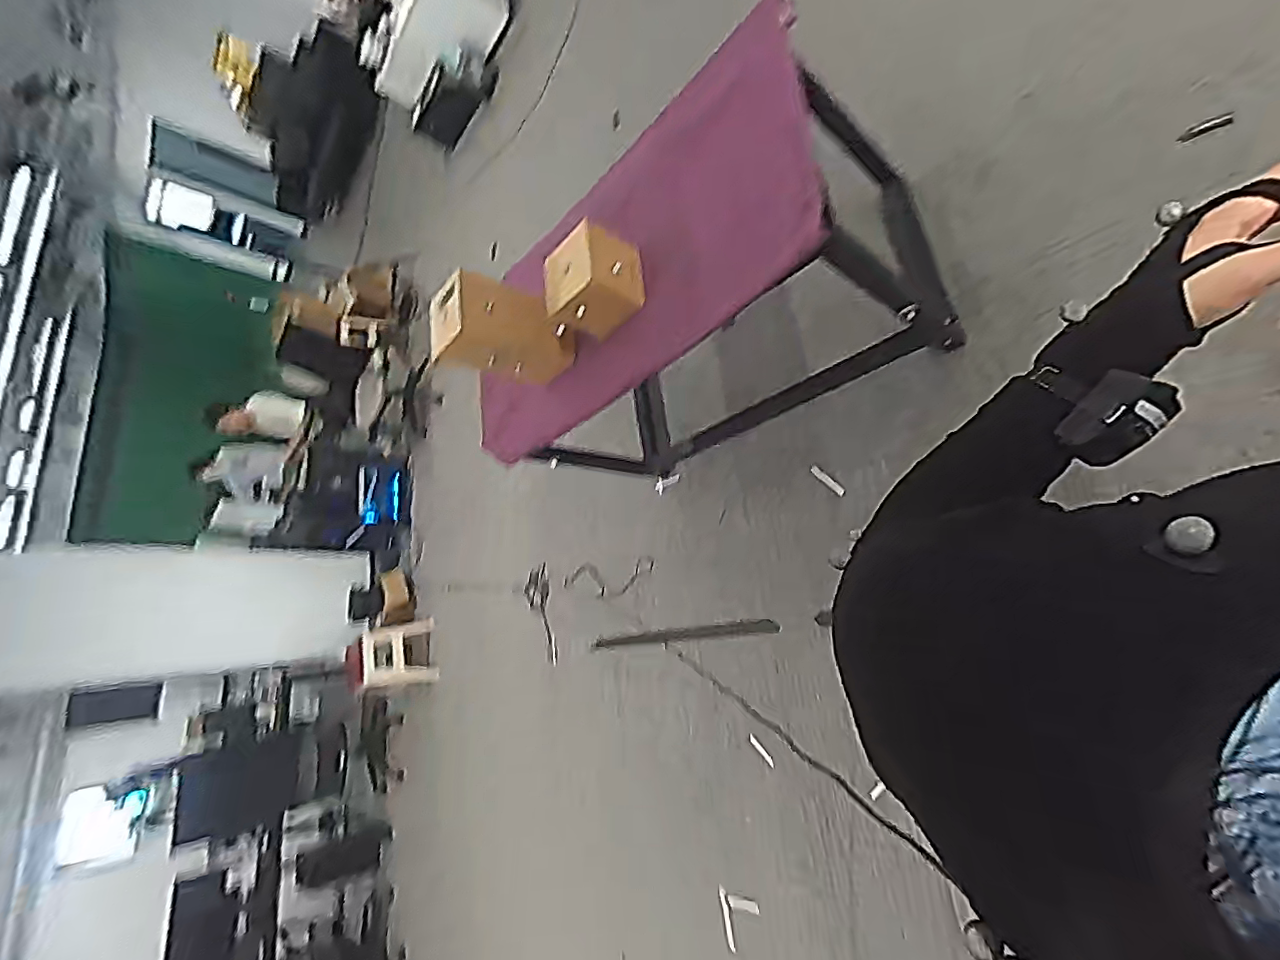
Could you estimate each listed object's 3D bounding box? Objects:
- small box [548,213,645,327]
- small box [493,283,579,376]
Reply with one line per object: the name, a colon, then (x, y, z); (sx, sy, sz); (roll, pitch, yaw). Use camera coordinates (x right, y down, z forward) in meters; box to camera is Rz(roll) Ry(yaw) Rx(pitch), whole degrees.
small box: (-0.101, -0.499, 1.311); (0.179, 0.176, 0.168); (-23, 68, 44)
small box: (-0.290, -0.409, 1.504); (0.179, 0.176, 0.168); (-23, 68, 43)
